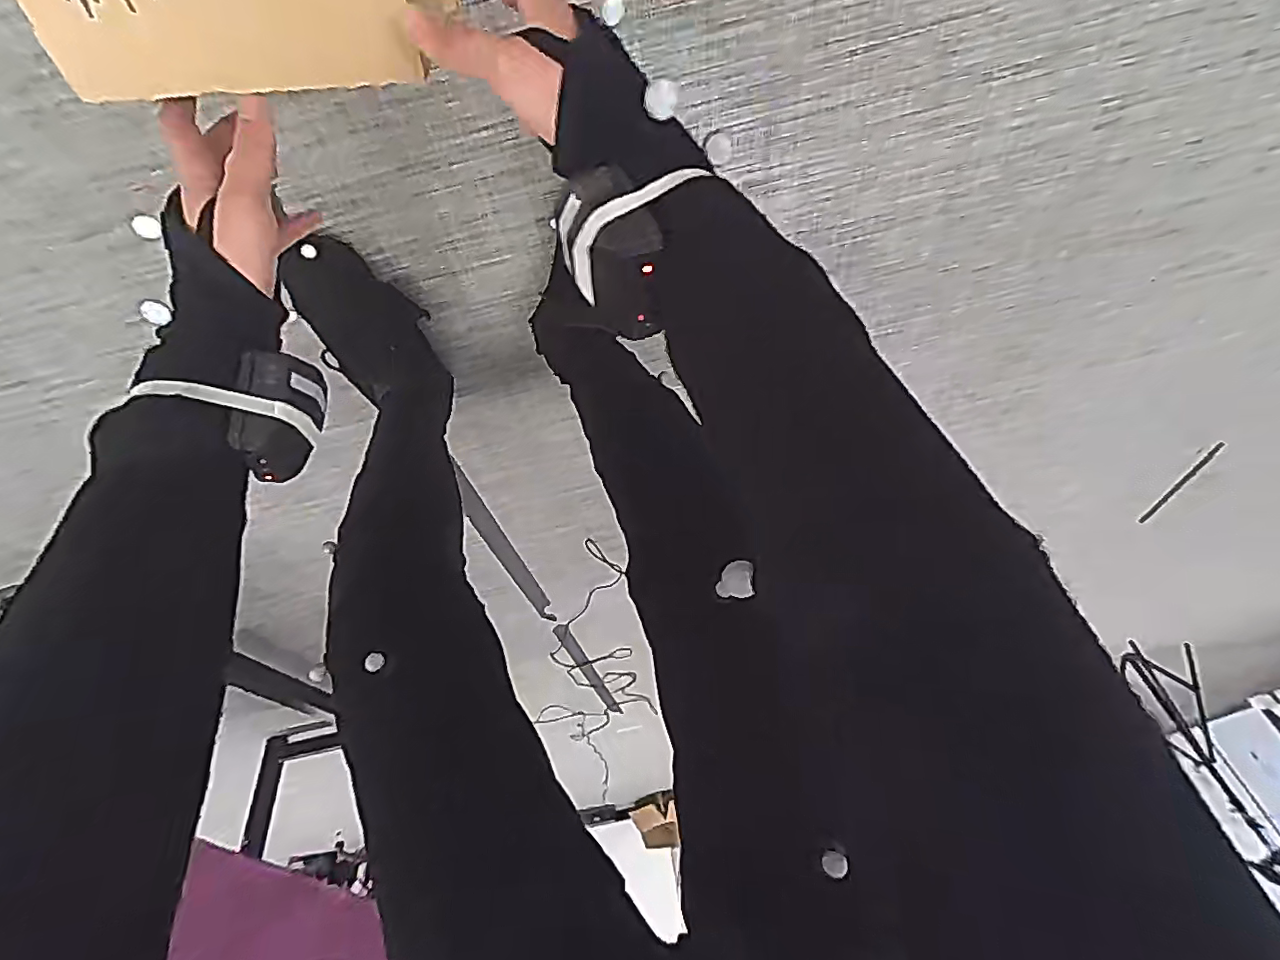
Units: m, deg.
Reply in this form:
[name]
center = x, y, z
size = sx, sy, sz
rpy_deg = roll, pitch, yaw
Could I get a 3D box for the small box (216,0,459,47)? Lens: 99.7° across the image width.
[small box]
center = -0.229, -0.444, 0.378
size = 0.168, 0.176, 0.179
rpy_deg = -10, 142, -1
